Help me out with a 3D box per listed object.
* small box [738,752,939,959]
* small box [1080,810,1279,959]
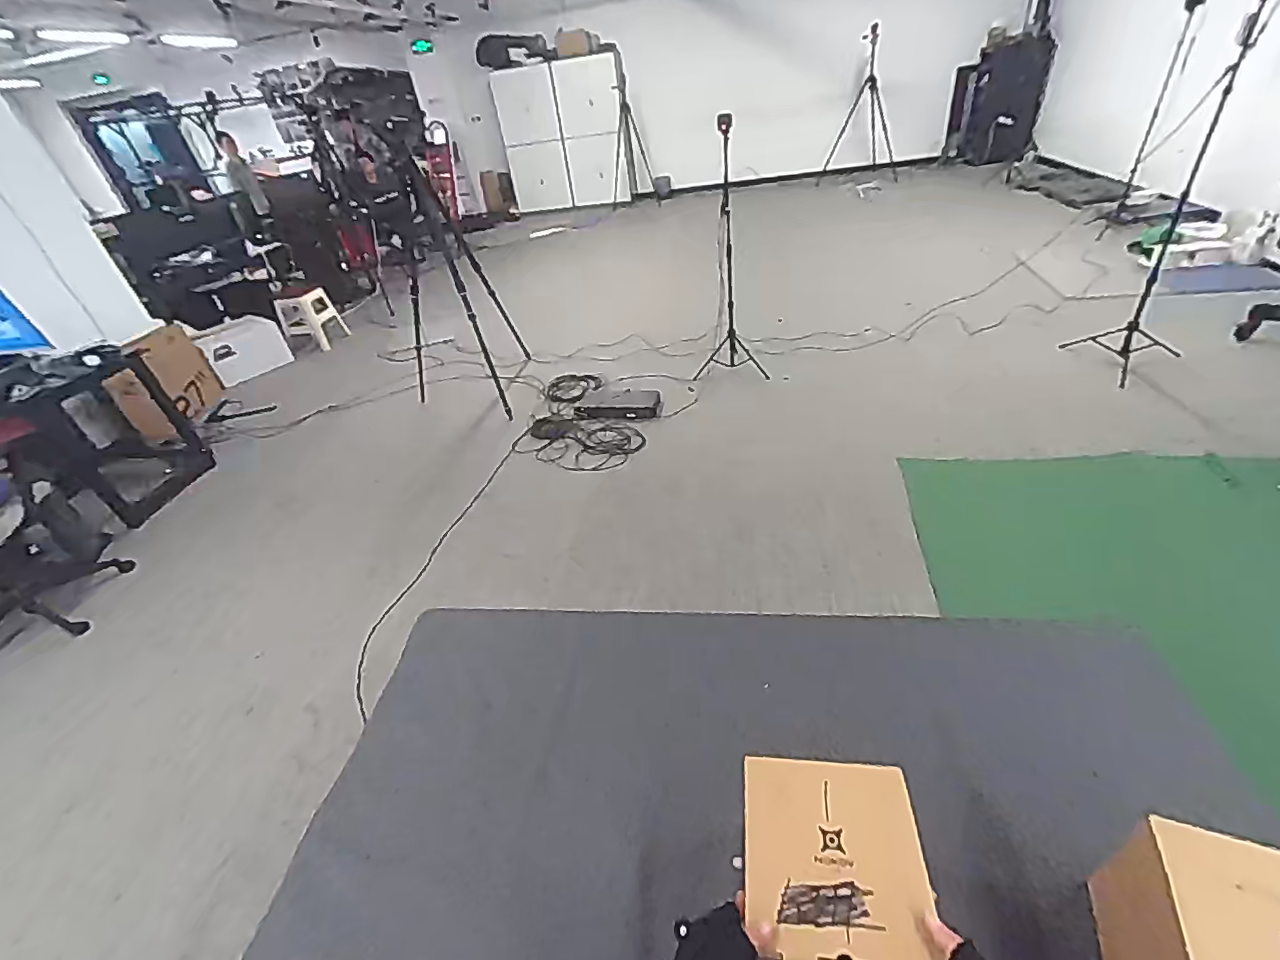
[{"bbox_3d":[0.190,0.418,0.565,0.168,0.176,0.179,-2,33,11],"label":"small box"},{"bbox_3d":[0.527,0.442,0.474,0.168,0.176,0.179,8,38,21],"label":"small box"}]
